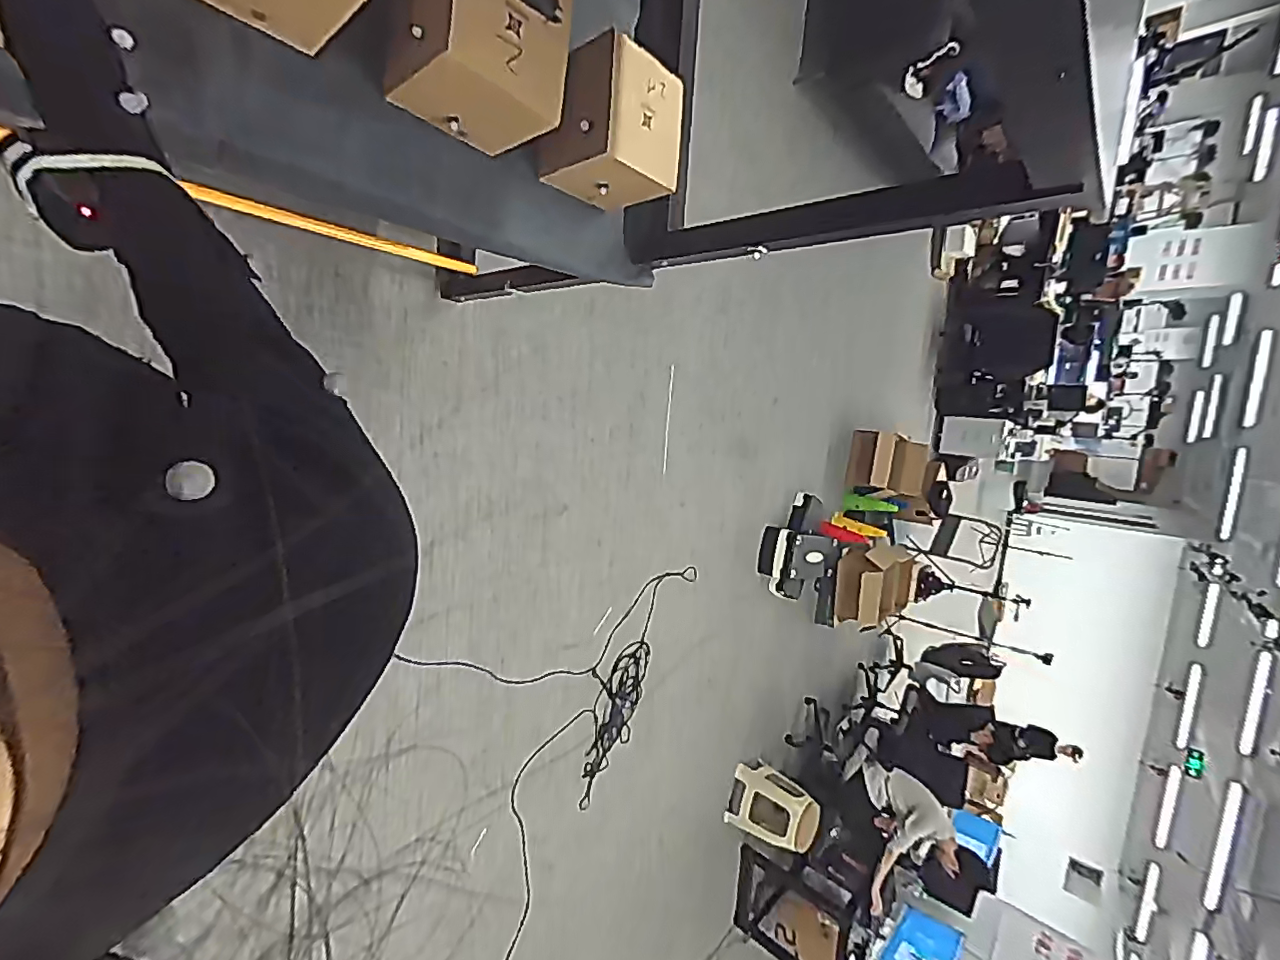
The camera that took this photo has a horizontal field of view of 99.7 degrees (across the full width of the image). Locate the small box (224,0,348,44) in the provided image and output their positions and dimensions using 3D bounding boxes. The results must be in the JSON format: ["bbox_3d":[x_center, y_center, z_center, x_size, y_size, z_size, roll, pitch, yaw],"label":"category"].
[{"bbox_3d":[-0.380,-0.584,0.528,0.168,0.176,0.179,-3,100,-49],"label":"small box"}]

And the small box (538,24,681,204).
[{"bbox_3d":[-0.054,-0.584,0.897,0.168,0.176,0.179,-4,100,-49],"label":"small box"}]
